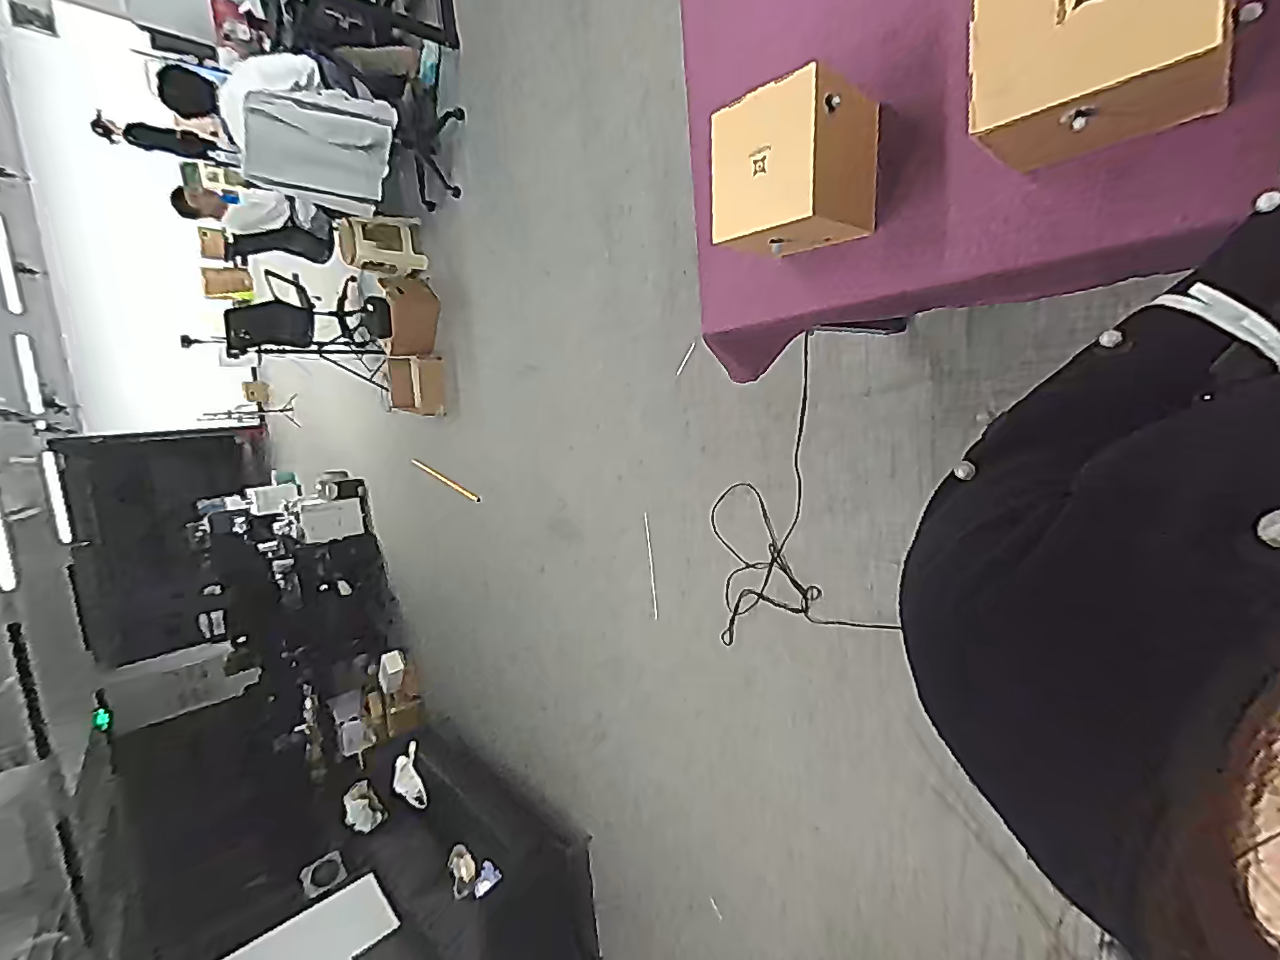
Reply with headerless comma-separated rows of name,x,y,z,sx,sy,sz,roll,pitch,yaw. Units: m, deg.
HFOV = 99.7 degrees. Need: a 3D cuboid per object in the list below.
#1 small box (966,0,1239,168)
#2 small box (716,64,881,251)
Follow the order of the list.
small box,0.445,-0.430,0.523,0.179,0.176,0.168,7,104,48
small box,0.226,-0.438,0.775,0.168,0.176,0.179,10,104,48
